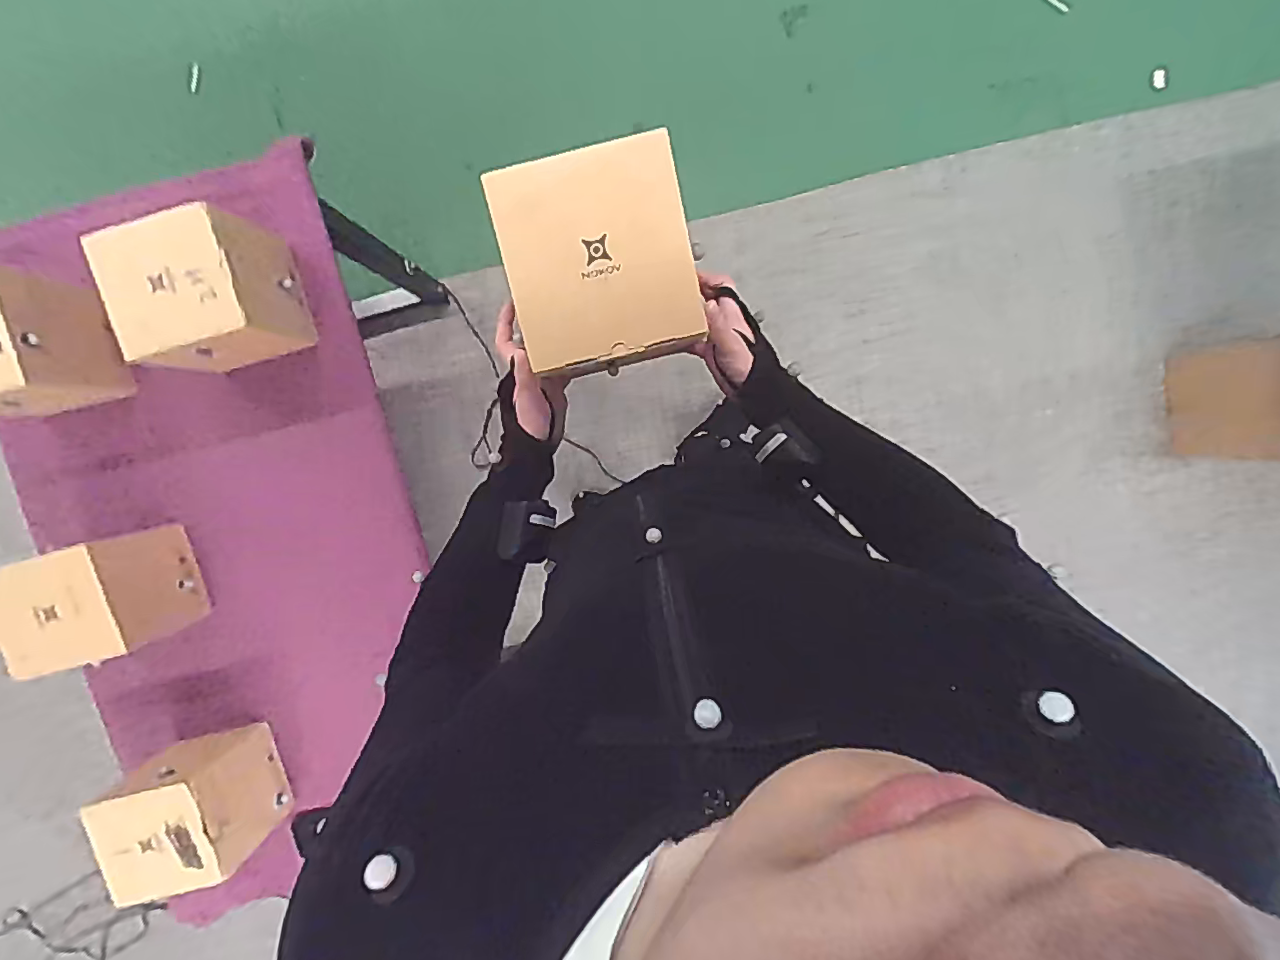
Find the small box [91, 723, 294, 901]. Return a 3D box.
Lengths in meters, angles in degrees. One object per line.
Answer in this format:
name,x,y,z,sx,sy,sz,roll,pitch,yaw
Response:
small box,-0.705,0.525,0.881,0.179,0.176,0.168,-15,95,3

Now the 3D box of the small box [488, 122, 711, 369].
small box,-0.035,-0.216,0.549,0.168,0.176,0.179,-13,101,2

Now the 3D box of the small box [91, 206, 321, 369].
small box,-0.619,-0.267,0.794,0.179,0.176,0.168,-15,97,2

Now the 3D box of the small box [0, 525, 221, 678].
small box,-0.824,0.181,0.850,0.179,0.176,0.168,-15,96,2

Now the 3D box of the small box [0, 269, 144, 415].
small box,-0.920,-0.194,0.812,0.179,0.176,0.168,-13,96,3
